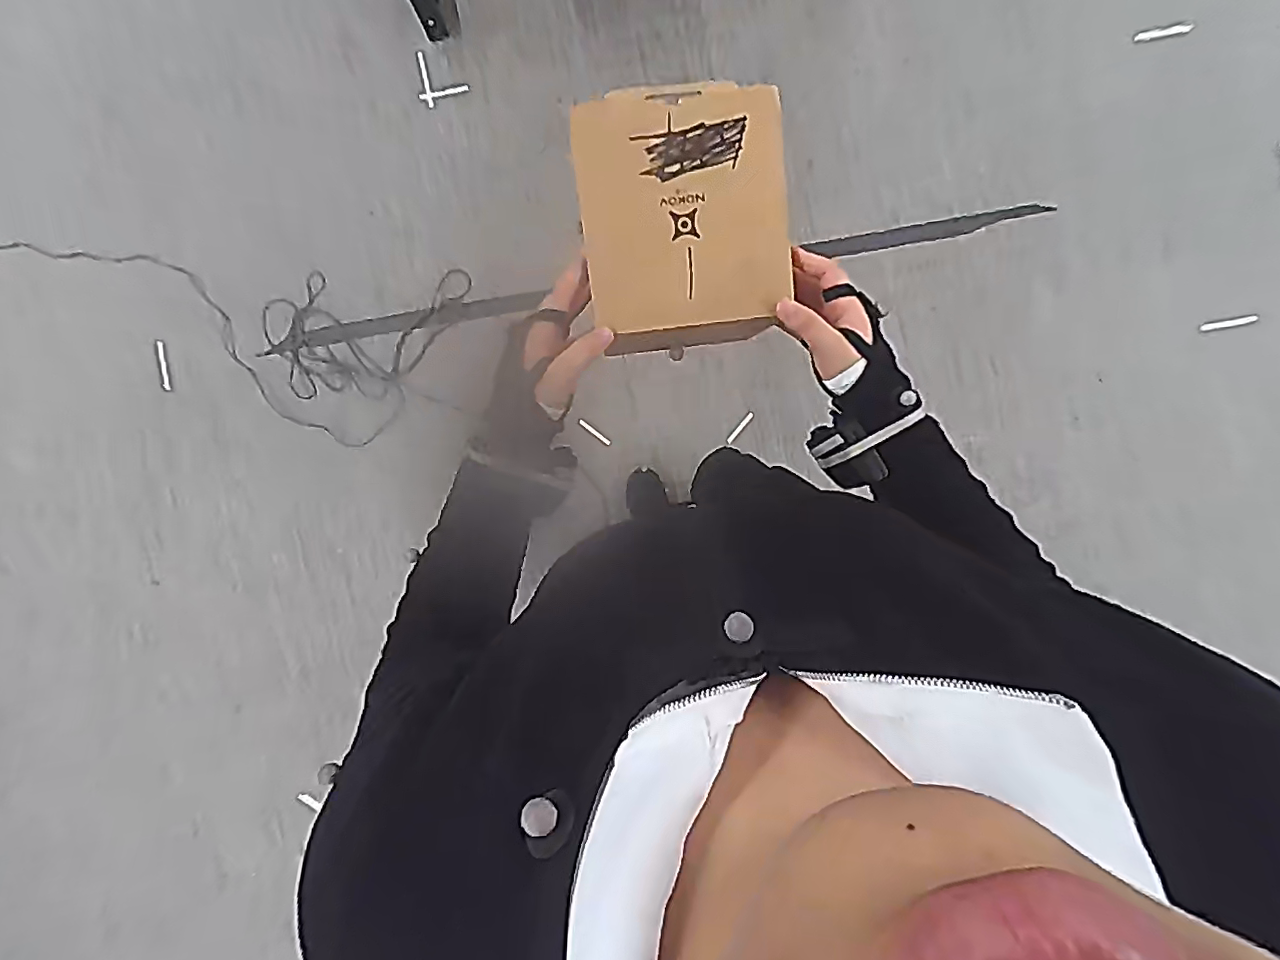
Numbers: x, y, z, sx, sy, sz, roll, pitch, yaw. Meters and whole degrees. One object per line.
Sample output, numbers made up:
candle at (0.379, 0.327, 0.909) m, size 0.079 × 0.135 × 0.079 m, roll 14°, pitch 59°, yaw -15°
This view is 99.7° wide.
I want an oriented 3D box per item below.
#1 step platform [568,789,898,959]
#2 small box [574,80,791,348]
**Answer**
step platform at (0.195, 0.936, 1.218) m, size 0.684 × 0.204 × 0.286 m, roll -12°, pitch 92°, yaw 1°
small box at (0.033, -0.232, 0.514) m, size 0.168 × 0.176 × 0.179 m, roll -7°, pitch 98°, yaw -1°
